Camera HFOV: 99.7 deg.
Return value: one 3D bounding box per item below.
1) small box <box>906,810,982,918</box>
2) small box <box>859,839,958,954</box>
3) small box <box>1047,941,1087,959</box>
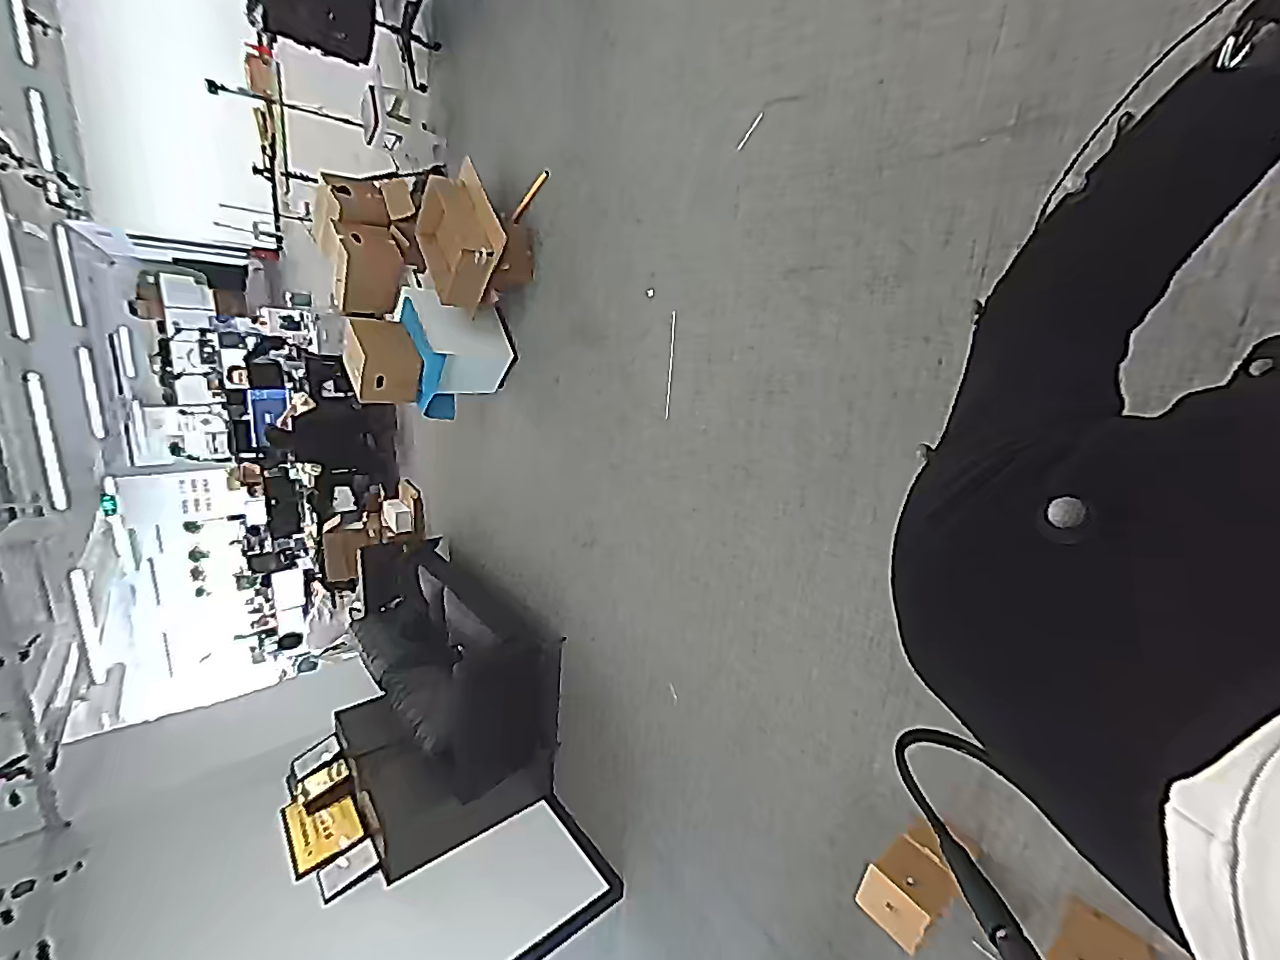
[{"bbox_3d":[0.904,1.156,1.643,0.168,0.176,0.179,32,119,45],"label":"small box"},{"bbox_3d":[0.770,1.178,1.553,0.179,0.176,0.168,29,118,44],"label":"small box"},{"bbox_3d":[1.020,1.240,1.249,0.168,0.176,0.179,19,112,49],"label":"small box"}]
